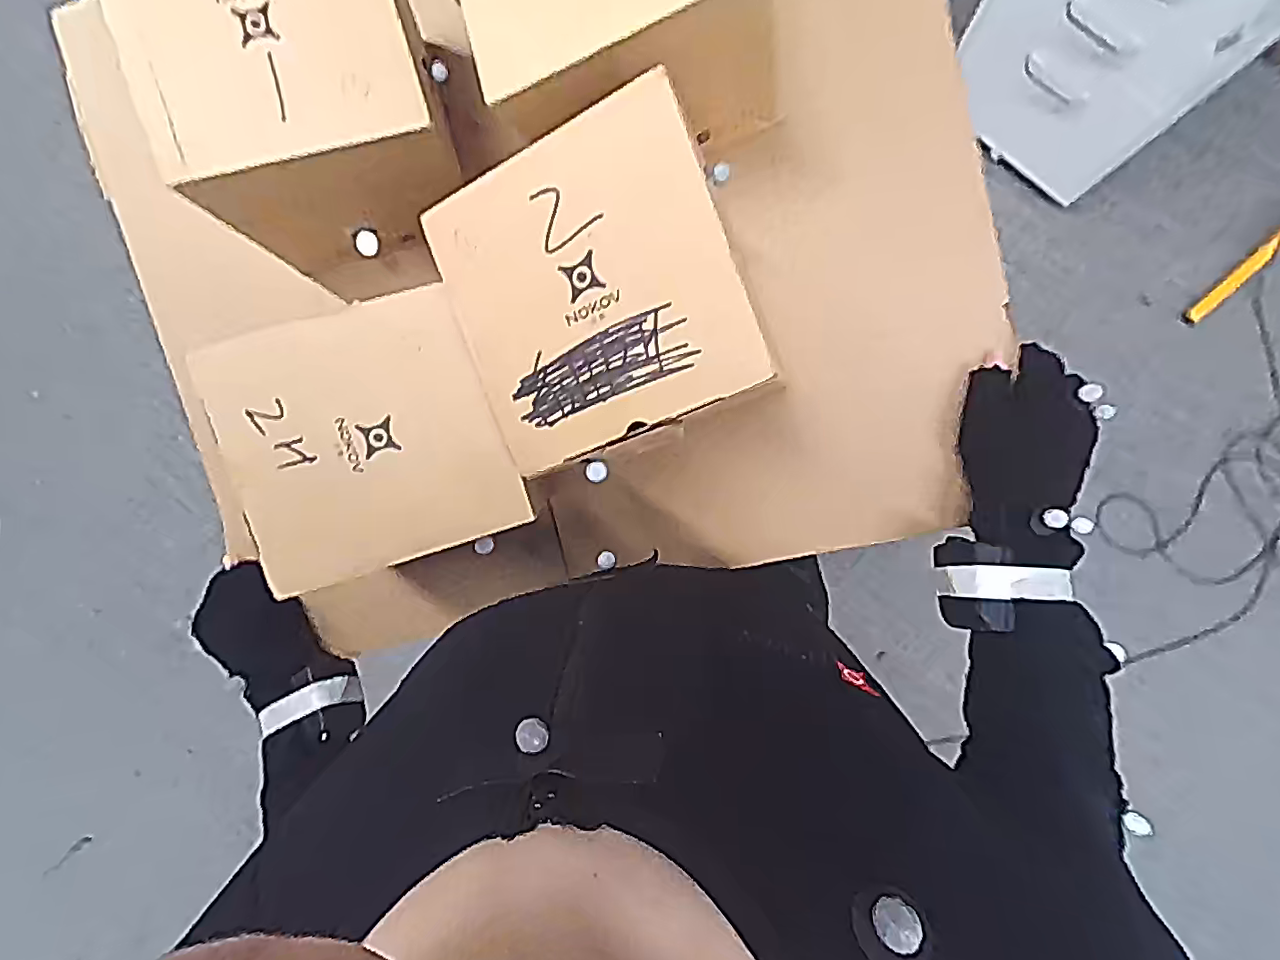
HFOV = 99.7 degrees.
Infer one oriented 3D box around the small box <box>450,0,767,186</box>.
[{"bbox_3d":[-0.017,-0.327,0.361,0.168,0.176,0.179,-15,93,17],"label":"small box"}]
